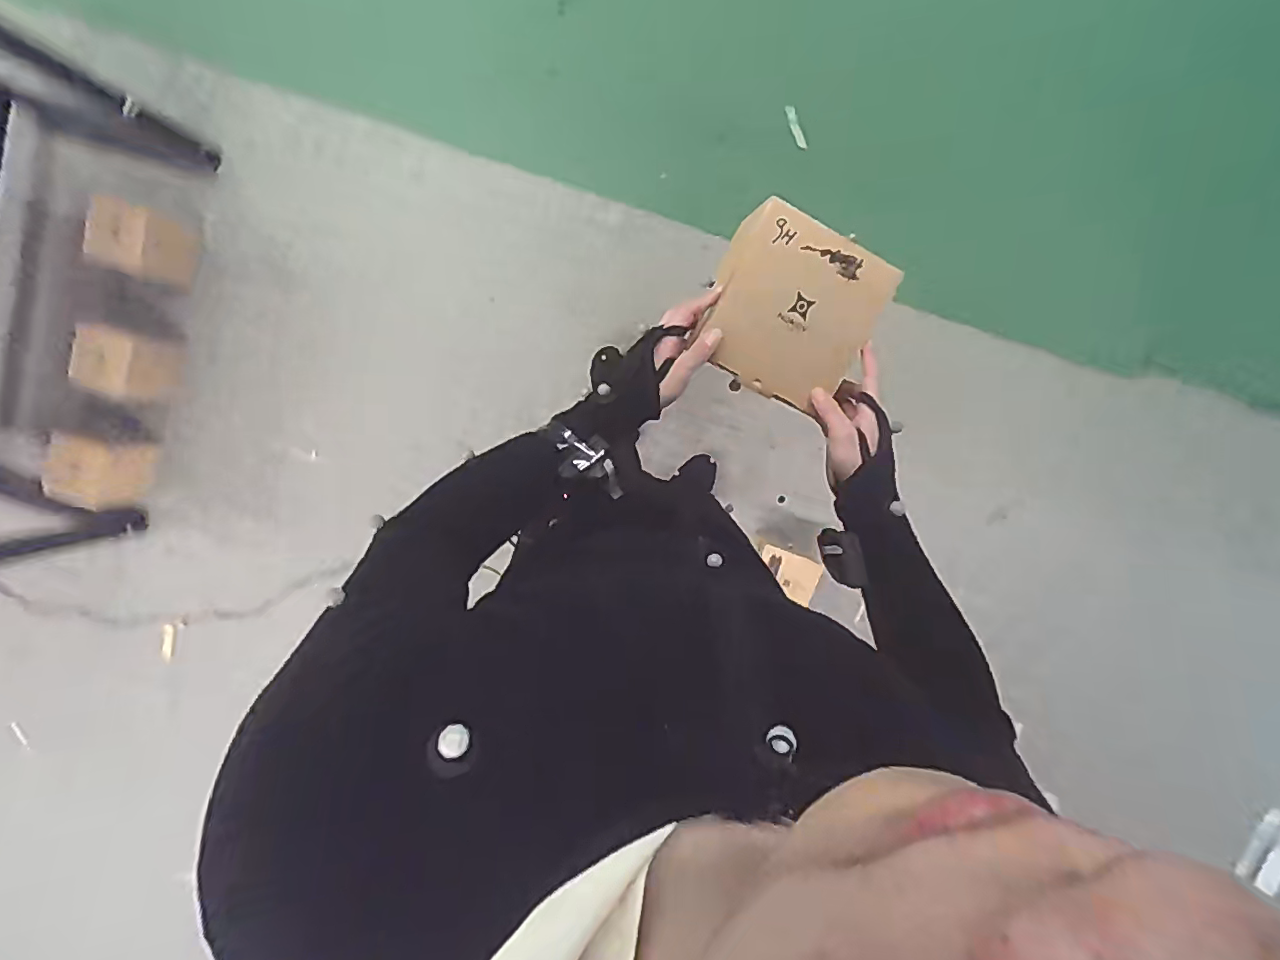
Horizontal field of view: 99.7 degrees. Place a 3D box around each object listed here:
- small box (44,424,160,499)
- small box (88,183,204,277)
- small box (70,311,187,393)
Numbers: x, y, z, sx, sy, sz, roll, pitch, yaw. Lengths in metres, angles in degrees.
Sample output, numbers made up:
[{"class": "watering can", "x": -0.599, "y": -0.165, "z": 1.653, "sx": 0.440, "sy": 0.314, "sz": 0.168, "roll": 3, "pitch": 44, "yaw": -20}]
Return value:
[{"class": "small box", "x": -1.580, "y": -0.060, "z": 1.598, "sx": 0.168, "sy": 0.176, "sz": 0.179, "roll": 18, "pitch": 97, "yaw": 0}, {"class": "small box", "x": -1.376, "y": -0.690, "z": 1.516, "sx": 0.168, "sy": 0.176, "sz": 0.179, "roll": 16, "pitch": 97, "yaw": 0}, {"class": "small box", "x": -1.464, "y": -0.361, "z": 1.558, "sx": 0.168, "sy": 0.176, "sz": 0.179, "roll": 20, "pitch": 98, "yaw": 1}]
